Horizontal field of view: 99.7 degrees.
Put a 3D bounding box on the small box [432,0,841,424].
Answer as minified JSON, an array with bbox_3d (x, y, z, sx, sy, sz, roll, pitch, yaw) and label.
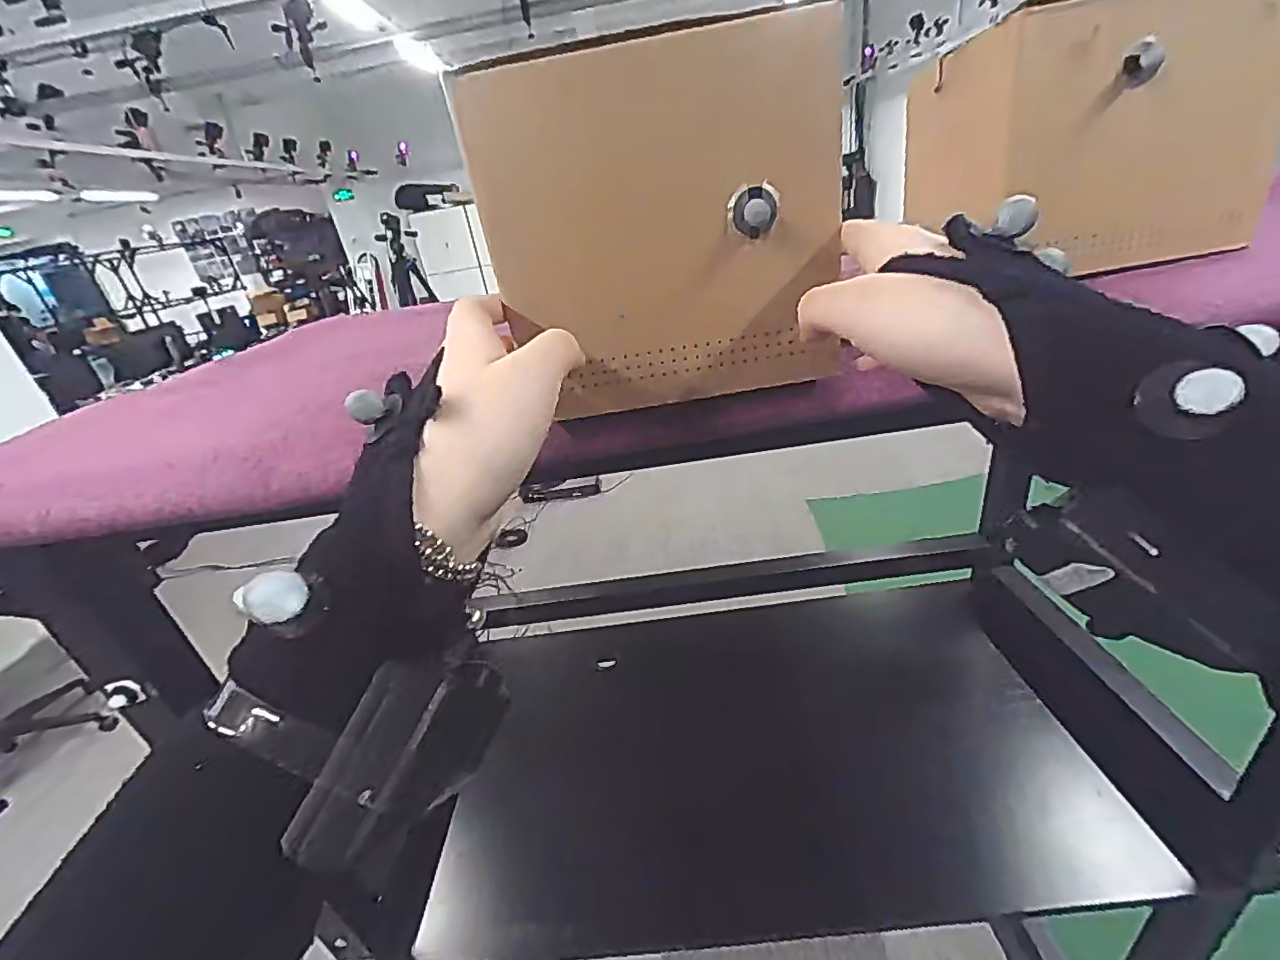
[{"bbox_3d":[0.007,-0.149,0.331,0.179,0.176,0.168,-10,27,3],"label":"small box"}]

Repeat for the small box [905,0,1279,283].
[{"bbox_3d":[0.325,-0.257,0.418,0.179,0.176,0.168,-8,26,5],"label":"small box"}]
